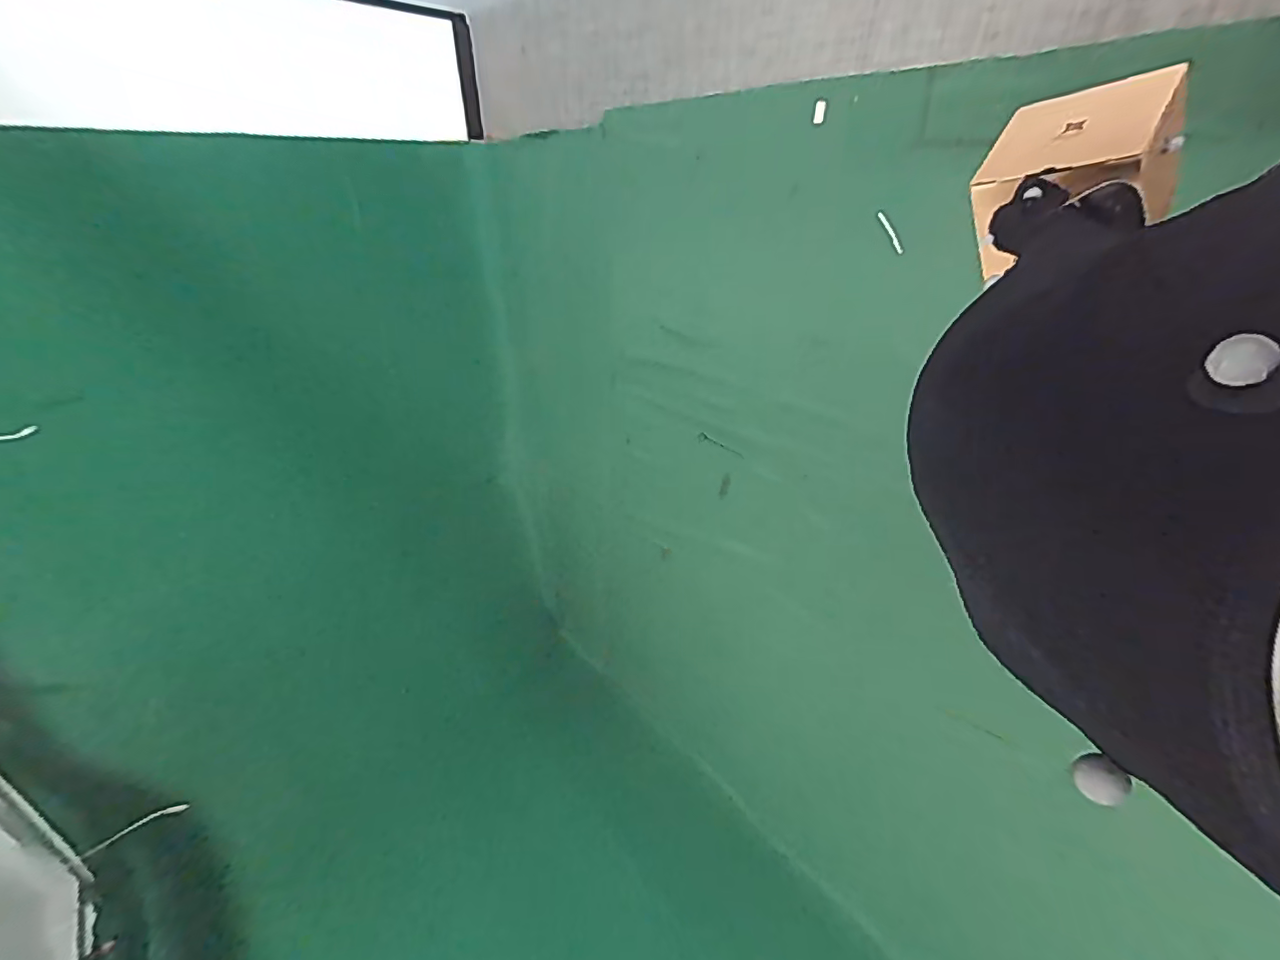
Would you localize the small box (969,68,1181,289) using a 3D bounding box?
[{"bbox_3d":[0.556,-0.373,0.700,0.168,0.179,0.176,17,156,47],"label":"small box"}]
